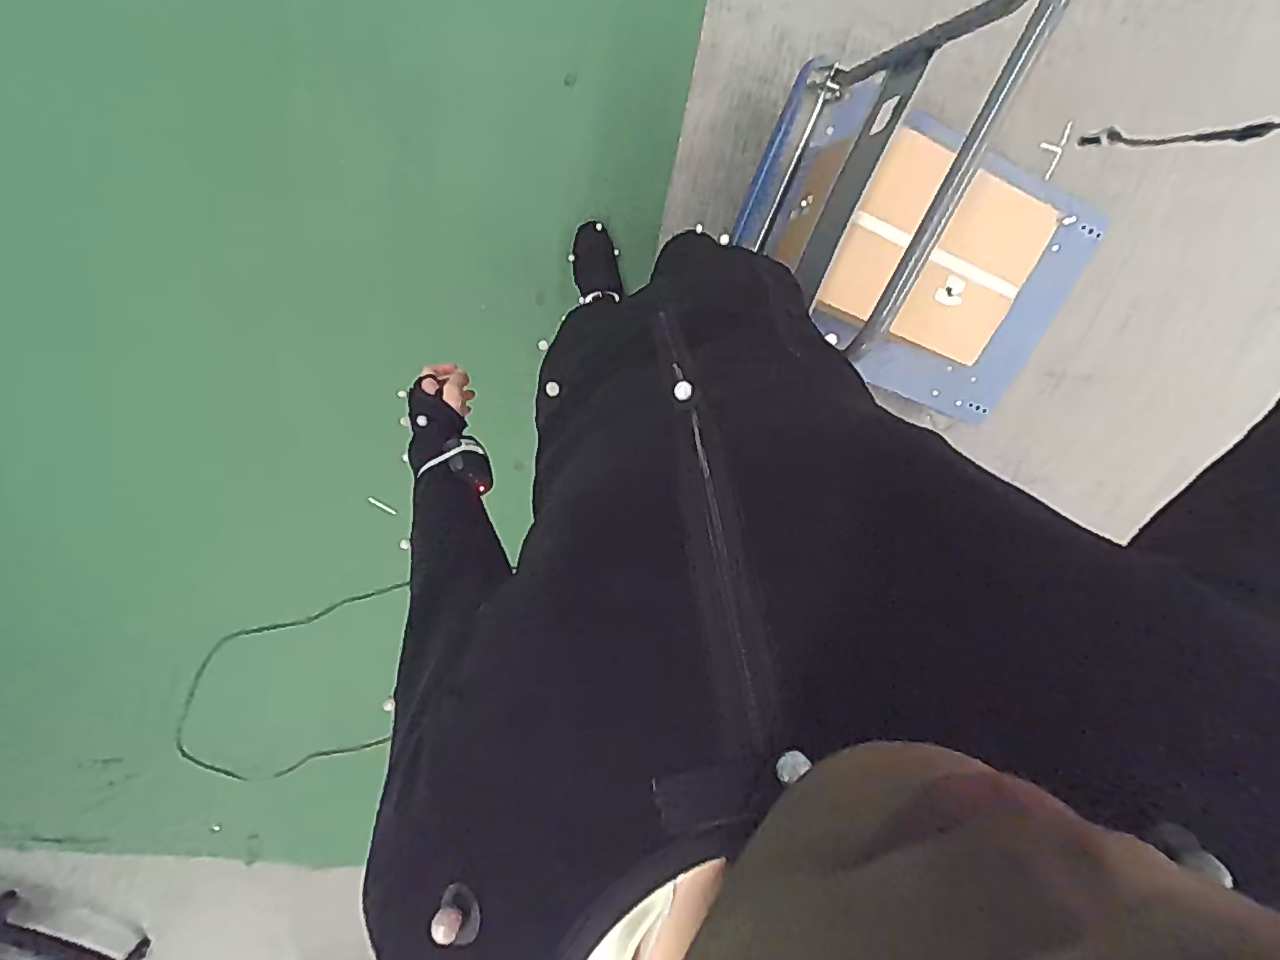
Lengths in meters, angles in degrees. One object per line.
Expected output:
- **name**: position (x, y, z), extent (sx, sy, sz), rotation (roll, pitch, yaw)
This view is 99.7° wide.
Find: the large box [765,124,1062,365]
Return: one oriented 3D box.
- **large box**: position (0.547, -0.486, 1.162), extent (0.408, 0.320, 0.320), rotation (19, 111, -14)
